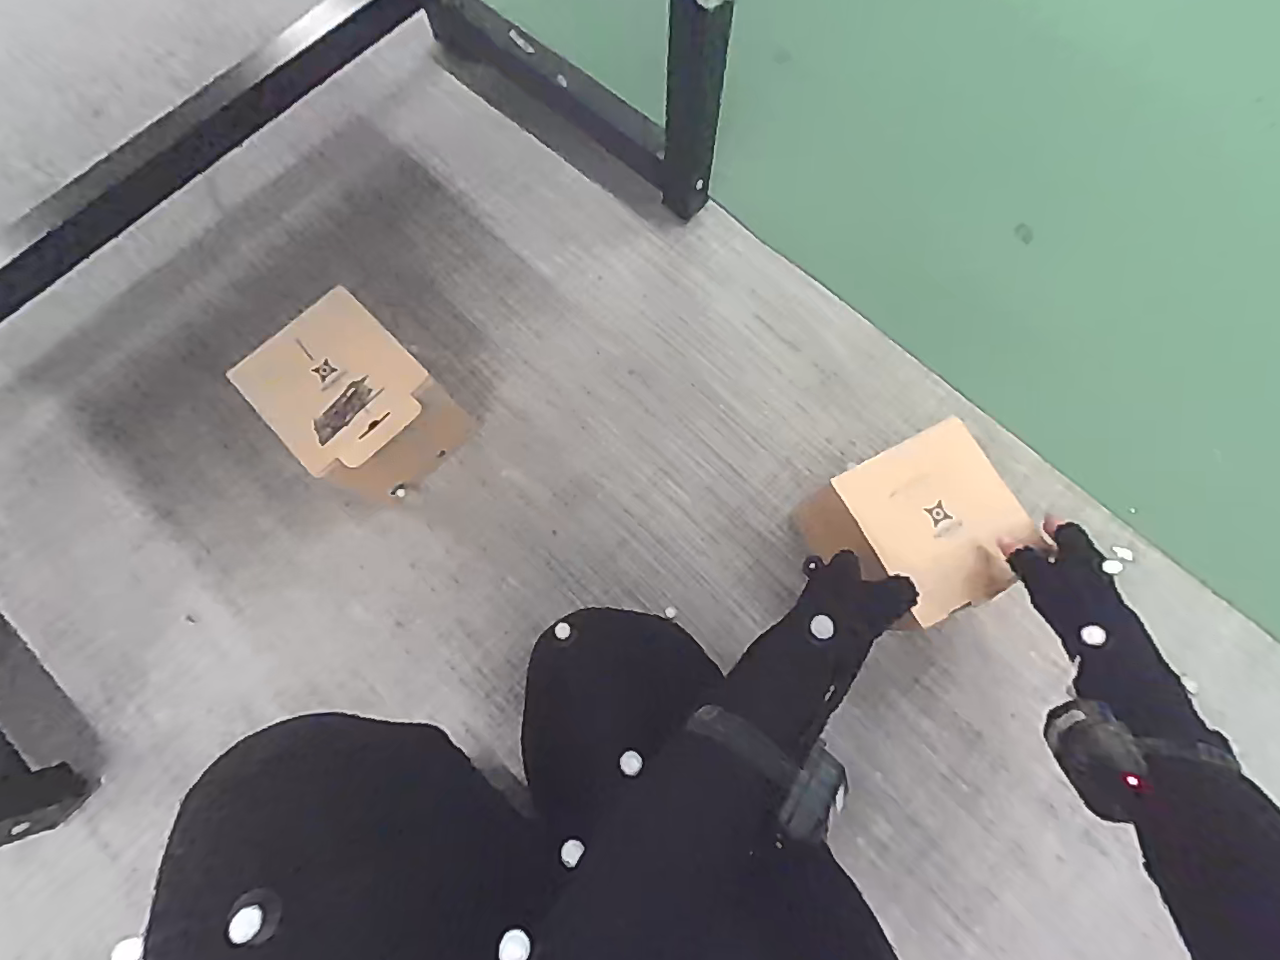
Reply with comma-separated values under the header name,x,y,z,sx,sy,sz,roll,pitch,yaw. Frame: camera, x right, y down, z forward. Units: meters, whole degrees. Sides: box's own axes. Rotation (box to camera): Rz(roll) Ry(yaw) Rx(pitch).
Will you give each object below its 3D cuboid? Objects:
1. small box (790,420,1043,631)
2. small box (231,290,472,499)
name,x,y,z,sx,sy,sz,roll,pitch,yaw
small box,0.306,0.062,0.641,0.168,0.176,0.179,-27,75,-7
small box,-0.346,-0.093,0.686,0.168,0.176,0.179,-44,78,-9
